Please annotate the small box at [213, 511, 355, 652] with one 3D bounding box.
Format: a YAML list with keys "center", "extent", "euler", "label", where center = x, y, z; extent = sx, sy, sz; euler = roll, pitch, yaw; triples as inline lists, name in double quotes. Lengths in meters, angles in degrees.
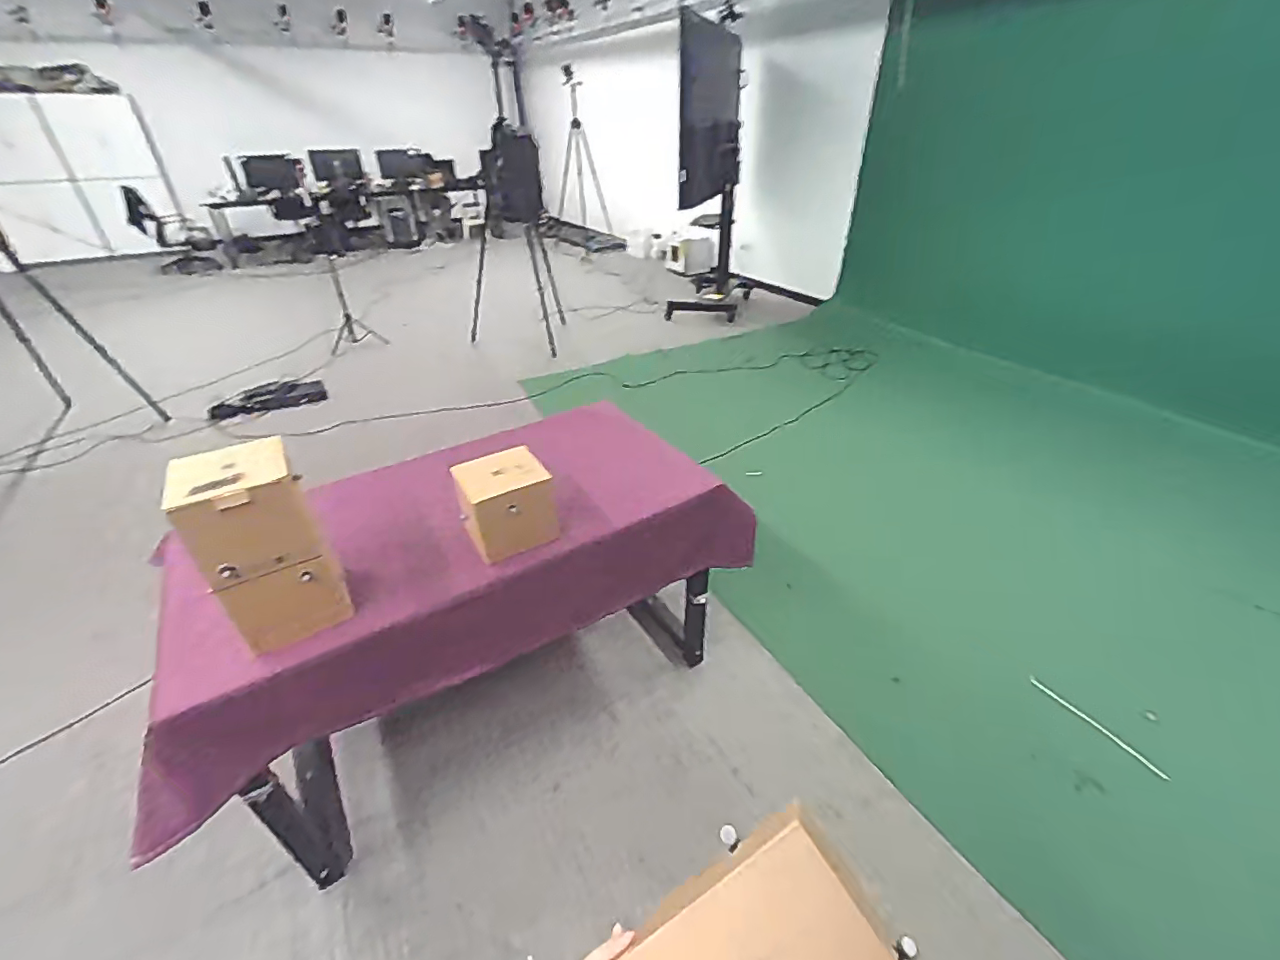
- center: [-0.667, 0.190, 1.021]
  extent: [0.179, 0.176, 0.168]
  euler: [-20, 38, -27]
  label: "small box"

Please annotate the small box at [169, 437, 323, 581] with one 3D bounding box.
- center: [-0.669, 0.052, 0.932]
  extent: [0.168, 0.176, 0.179]
  euler: [-20, 36, -27]
  label: "small box"

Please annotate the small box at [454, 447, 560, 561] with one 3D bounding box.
- center: [-0.294, 0.054, 1.211]
  extent: [0.179, 0.176, 0.168]
  euler: [-19, 38, -25]
  label: "small box"
